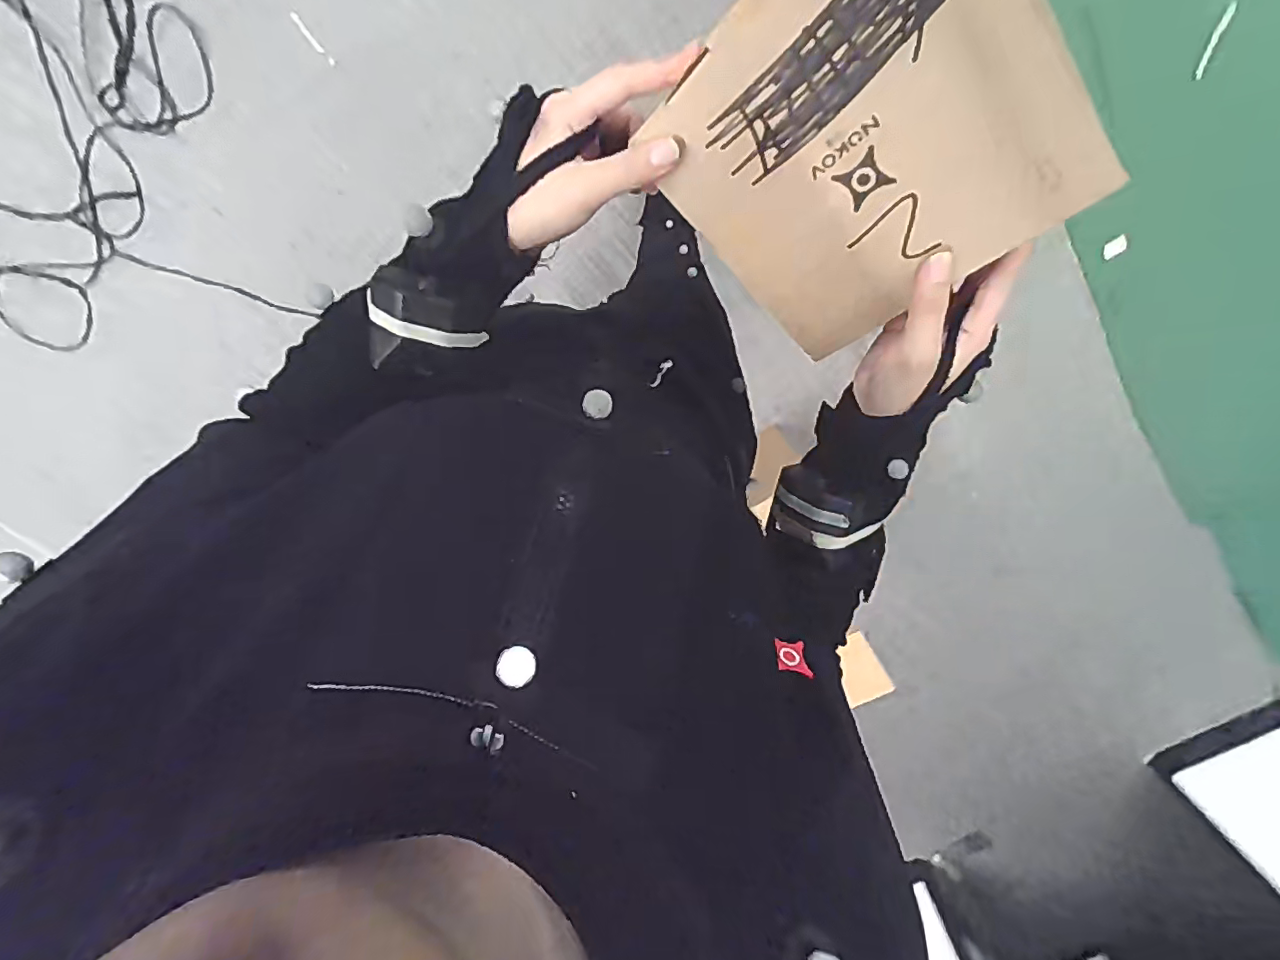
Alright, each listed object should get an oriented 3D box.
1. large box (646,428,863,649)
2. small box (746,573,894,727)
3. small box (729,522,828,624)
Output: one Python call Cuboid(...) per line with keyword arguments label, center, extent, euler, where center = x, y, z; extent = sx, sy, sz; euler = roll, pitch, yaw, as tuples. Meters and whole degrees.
Cuboid(label="large box", center=(0.261, 0.136, 1.345), extent=(0.408, 0.320, 0.320), euler=(-30, 112, 14))
Cuboid(label="small box", center=(0.316, 0.300, 0.976), extent=(0.179, 0.176, 0.168), euler=(-30, 115, 13))
Cuboid(label="small box", center=(0.298, 0.219, 1.117), extent=(0.179, 0.176, 0.168), euler=(-30, 115, 12))
